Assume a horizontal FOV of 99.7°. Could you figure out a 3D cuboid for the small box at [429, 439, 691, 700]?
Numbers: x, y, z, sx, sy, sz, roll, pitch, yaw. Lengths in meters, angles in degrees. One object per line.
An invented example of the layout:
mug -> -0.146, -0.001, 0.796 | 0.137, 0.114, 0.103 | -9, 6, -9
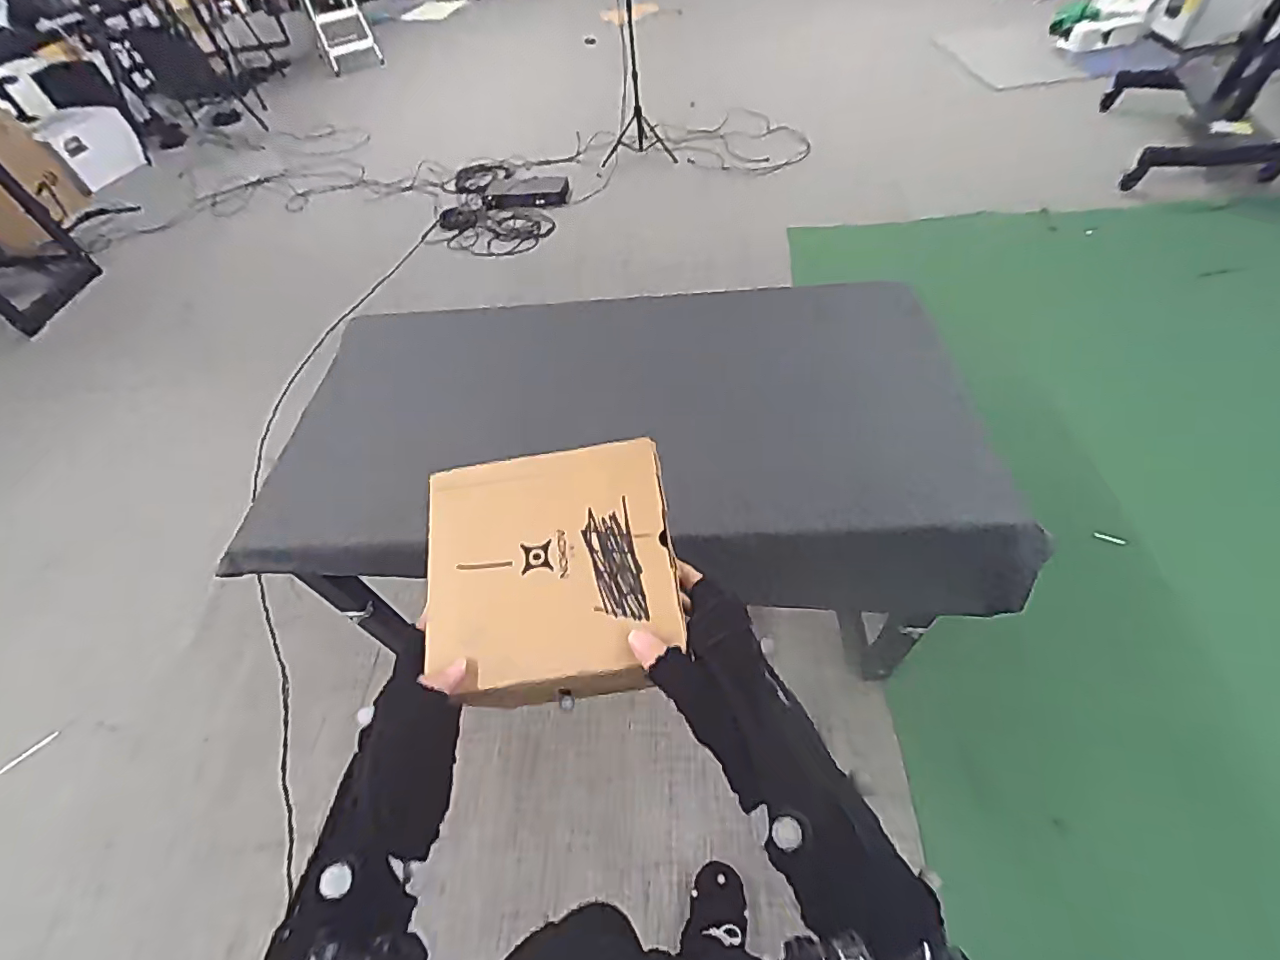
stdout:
small box -> -0.057, 0.086, 0.458 | 0.179, 0.176, 0.168 | -9, 64, 0
